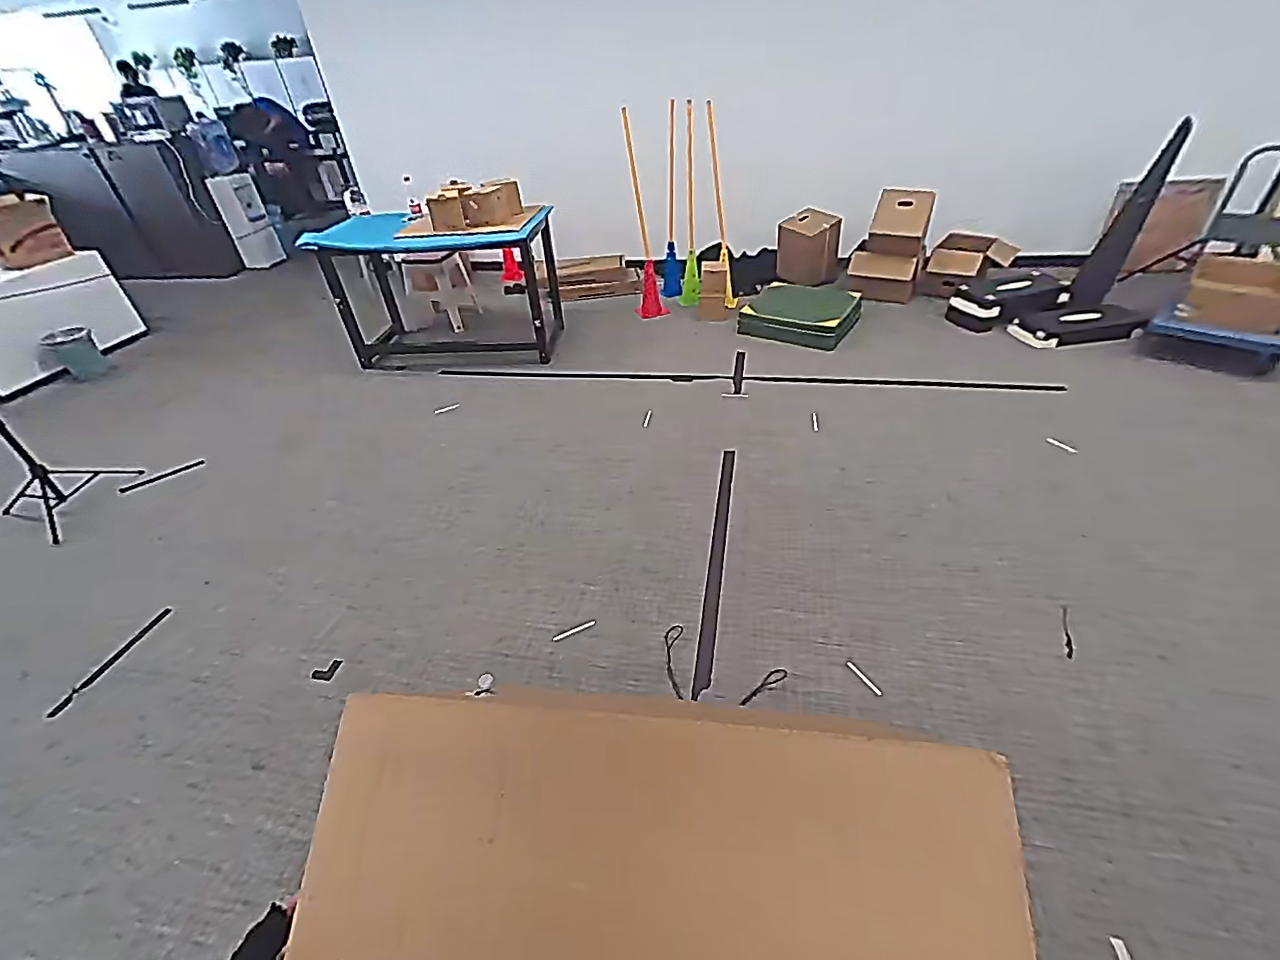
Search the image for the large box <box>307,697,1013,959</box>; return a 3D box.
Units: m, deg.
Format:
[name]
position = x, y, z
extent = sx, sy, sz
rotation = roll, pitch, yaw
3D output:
[large box]
position = 0.011, 0.351, 0.432
extent = 0.408, 0.320, 0.320
rotation = 2, 71, 7
